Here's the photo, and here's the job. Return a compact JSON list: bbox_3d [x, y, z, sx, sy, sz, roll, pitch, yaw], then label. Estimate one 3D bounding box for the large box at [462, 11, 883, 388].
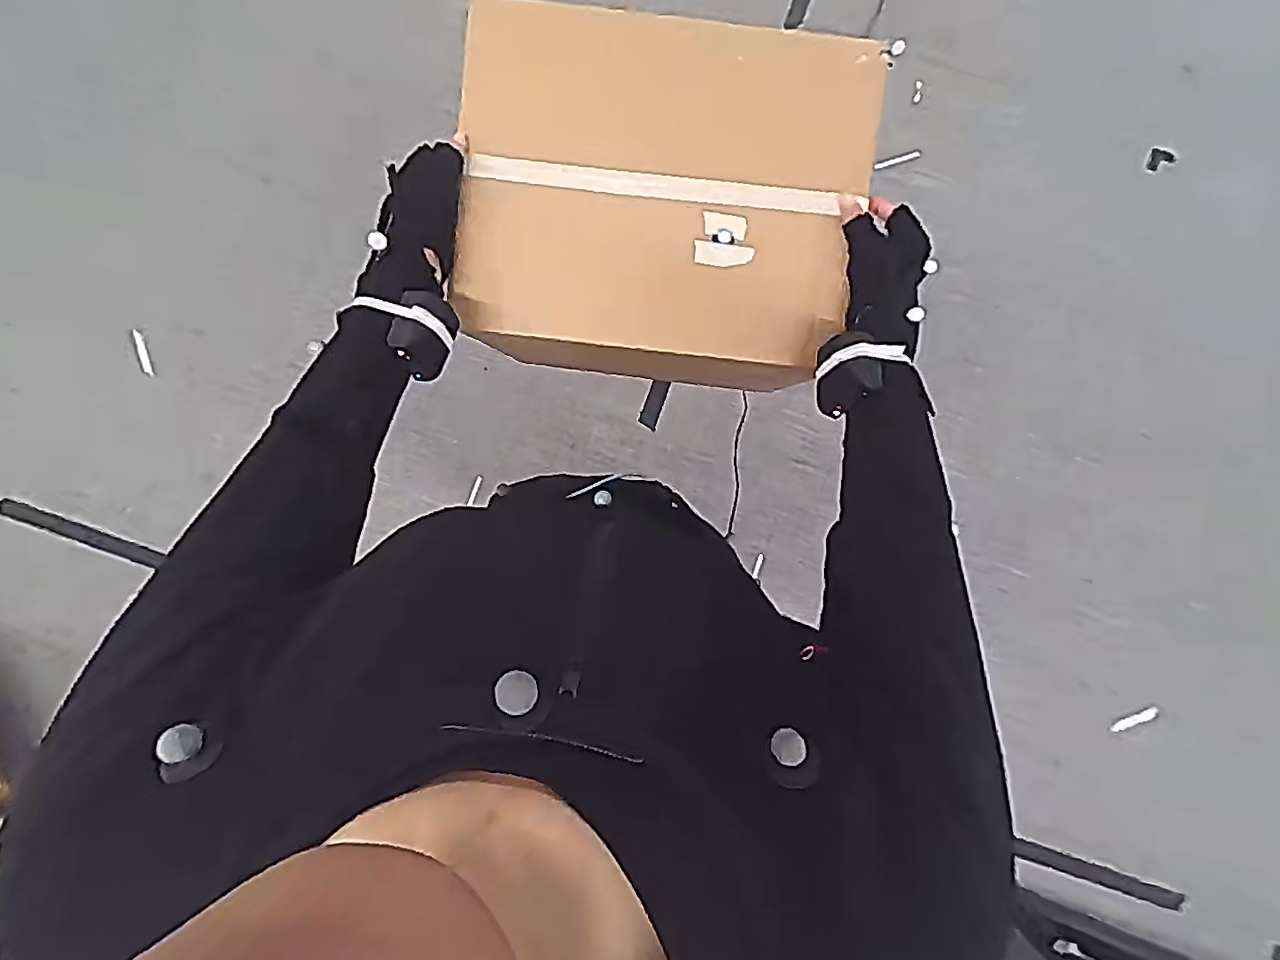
[{"bbox_3d":[0.027,-0.303,0.692,0.408,0.320,0.320,7,96,0],"label":"large box"}]
